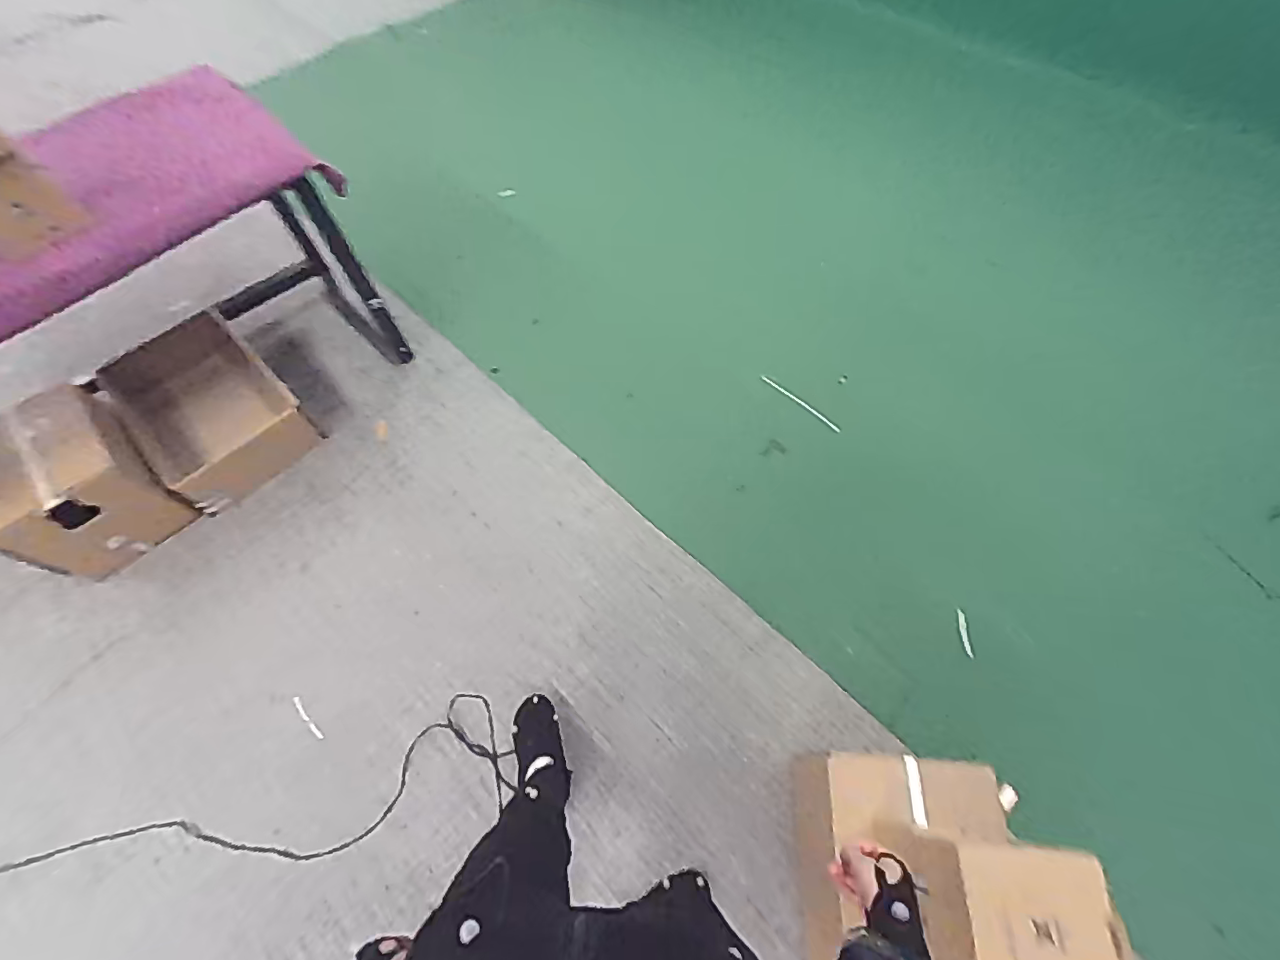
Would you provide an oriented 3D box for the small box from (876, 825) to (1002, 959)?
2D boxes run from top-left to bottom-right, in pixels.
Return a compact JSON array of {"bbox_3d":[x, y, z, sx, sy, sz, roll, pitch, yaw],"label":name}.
[{"bbox_3d":[0.492,0.651,0.846,0.179,0.176,0.168,6,61,6],"label":"small box"}]

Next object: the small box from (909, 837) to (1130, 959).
[{"bbox_3d":[0.481,0.574,0.702,0.179,0.176,0.168,4,60,4],"label":"small box"}]
